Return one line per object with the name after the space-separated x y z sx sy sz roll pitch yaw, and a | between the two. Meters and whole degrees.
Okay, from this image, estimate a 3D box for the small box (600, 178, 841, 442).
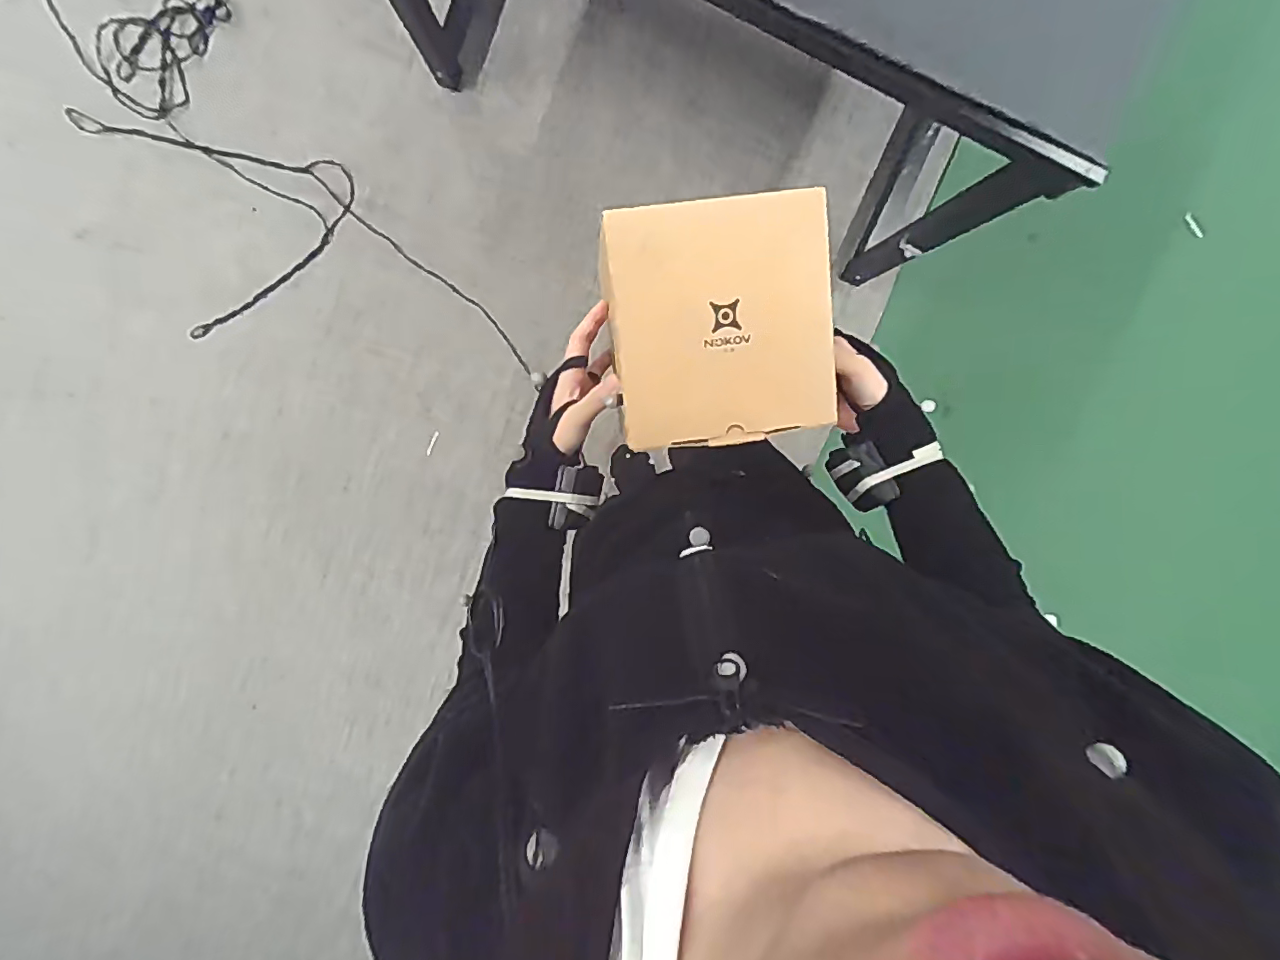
0.057 -0.134 0.474 0.168 0.176 0.179 -8 100 -3 | small box
